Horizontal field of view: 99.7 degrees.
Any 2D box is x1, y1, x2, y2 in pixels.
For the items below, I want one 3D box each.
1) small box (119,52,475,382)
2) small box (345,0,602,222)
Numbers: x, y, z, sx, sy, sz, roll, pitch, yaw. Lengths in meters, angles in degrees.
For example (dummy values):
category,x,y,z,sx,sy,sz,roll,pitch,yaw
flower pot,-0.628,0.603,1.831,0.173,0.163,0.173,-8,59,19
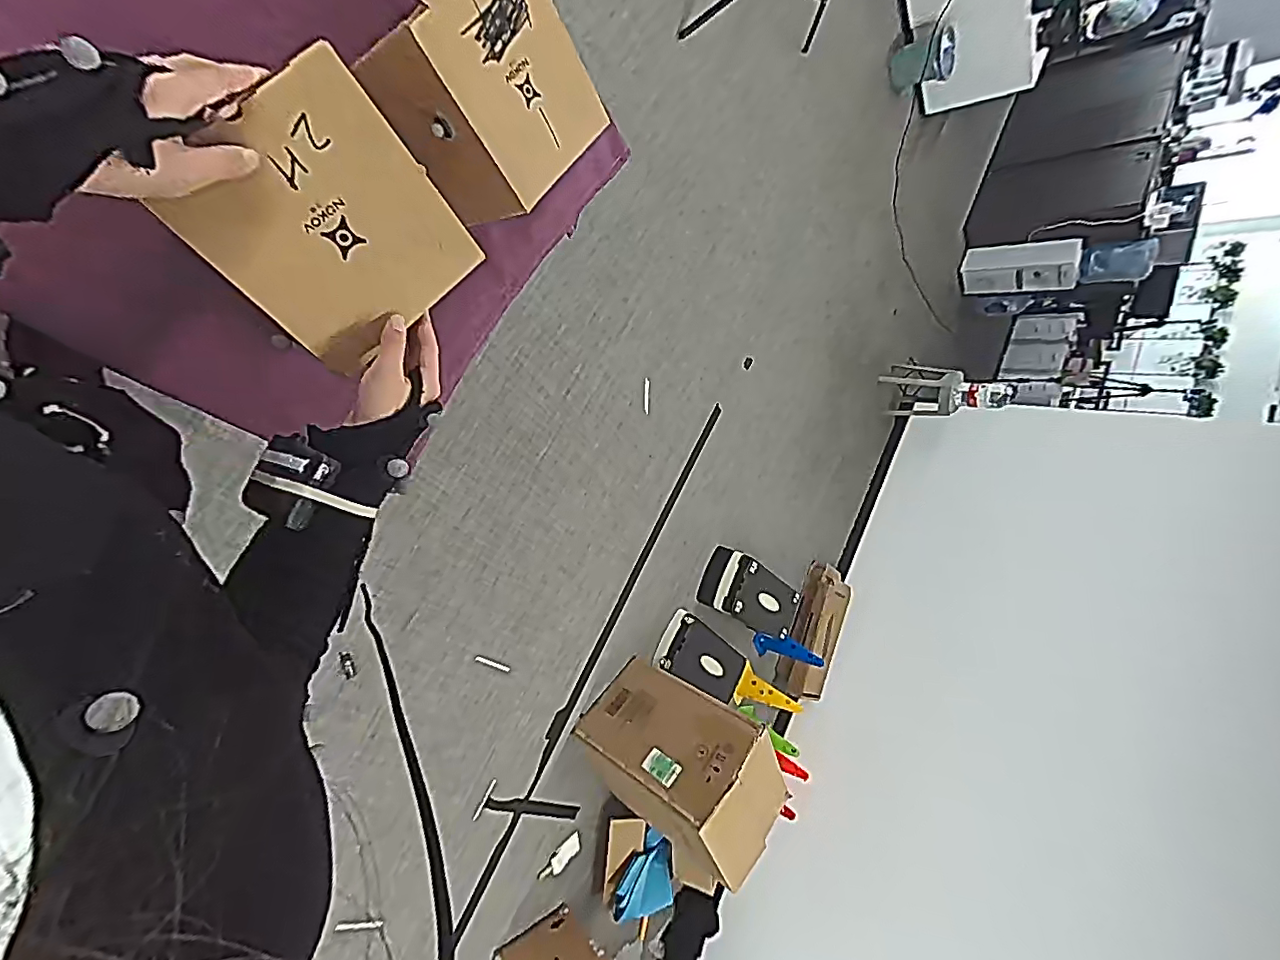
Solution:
category,x,y,z,sx,sy,sz,roll,pitch,yaw
small box,-0.285,-0.217,0.469,0.168,0.176,0.179,-48,132,-13
small box,-0.182,-0.414,0.597,0.168,0.176,0.179,-56,136,-19
